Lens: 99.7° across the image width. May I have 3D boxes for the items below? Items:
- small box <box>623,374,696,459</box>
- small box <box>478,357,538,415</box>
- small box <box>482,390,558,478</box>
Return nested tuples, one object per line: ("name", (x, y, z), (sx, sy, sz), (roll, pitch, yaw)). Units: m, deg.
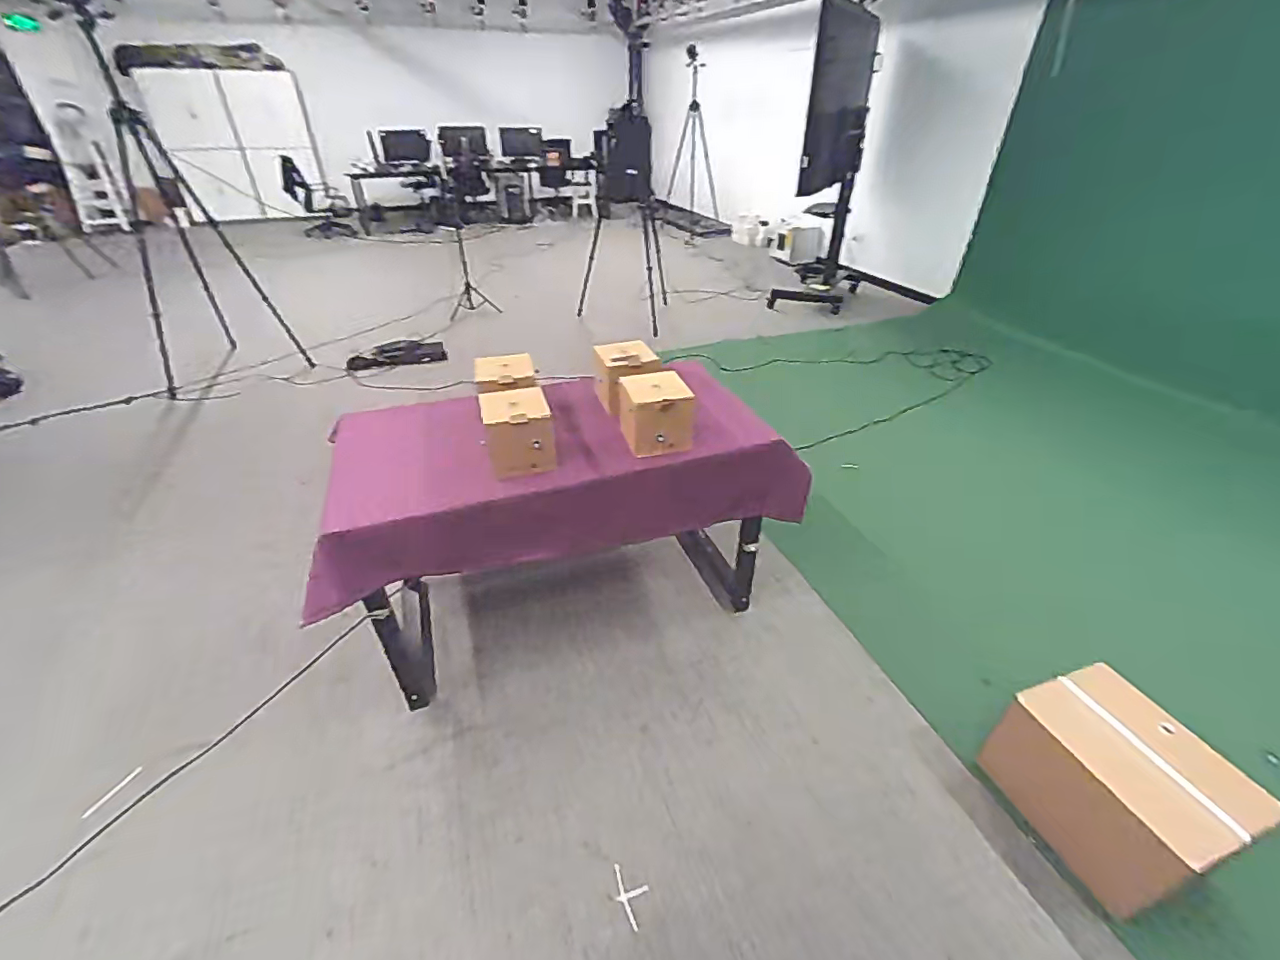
("small box", (0.048, -0.179, 1.515), (0.168, 0.176, 0.179), (-9, 36, -12))
("small box", (-0.389, -0.254, 1.625), (0.168, 0.176, 0.179), (-8, 36, -11))
("small box", (-0.317, -0.118, 1.432), (0.168, 0.176, 0.179), (-10, 35, -14))
